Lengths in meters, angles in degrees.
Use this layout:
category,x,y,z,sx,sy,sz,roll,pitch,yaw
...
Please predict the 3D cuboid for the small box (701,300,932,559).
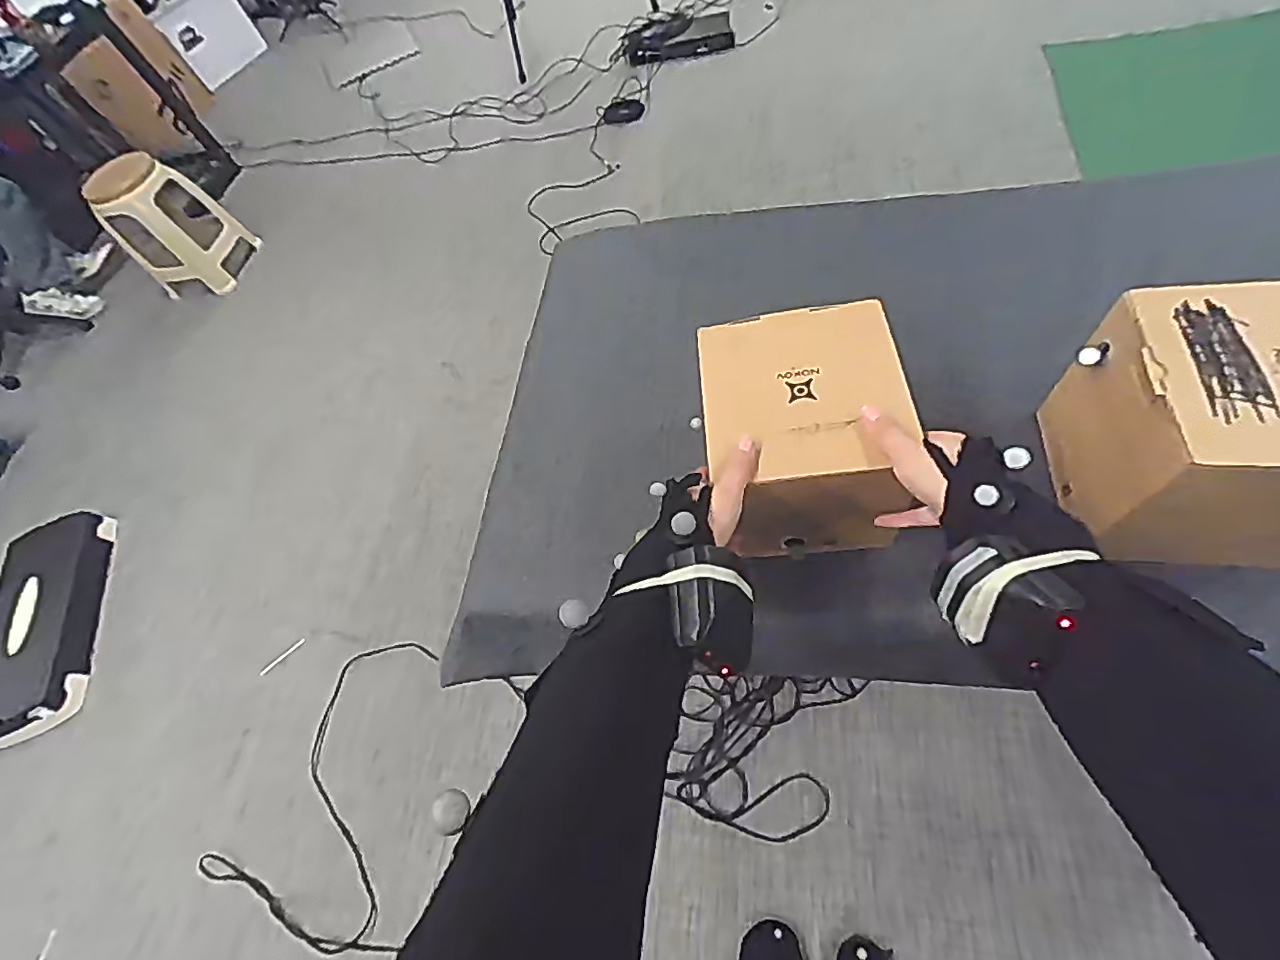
category,x,y,z,sx,sy,sz,roll,pitch,yaw
small box,0.153,-0.039,0.523,0.168,0.176,0.179,-7,60,11
